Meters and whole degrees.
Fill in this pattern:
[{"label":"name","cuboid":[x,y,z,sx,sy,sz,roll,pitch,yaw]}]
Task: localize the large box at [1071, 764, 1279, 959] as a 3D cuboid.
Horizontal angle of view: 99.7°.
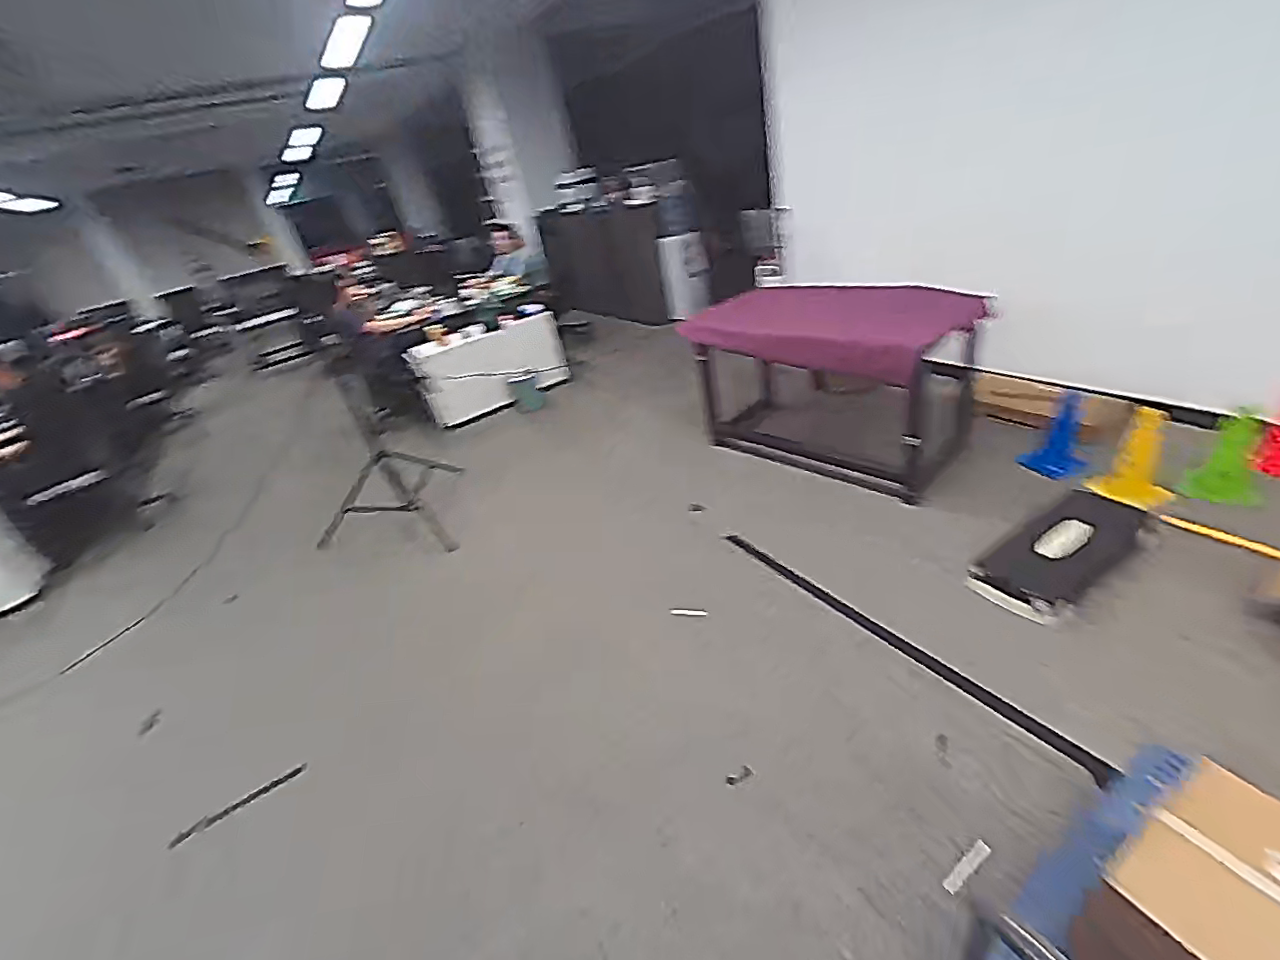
[{"label":"large box","cuboid":[0.944,0.726,0.765,0.320,0.320,0.408,-25,31,-19]}]
